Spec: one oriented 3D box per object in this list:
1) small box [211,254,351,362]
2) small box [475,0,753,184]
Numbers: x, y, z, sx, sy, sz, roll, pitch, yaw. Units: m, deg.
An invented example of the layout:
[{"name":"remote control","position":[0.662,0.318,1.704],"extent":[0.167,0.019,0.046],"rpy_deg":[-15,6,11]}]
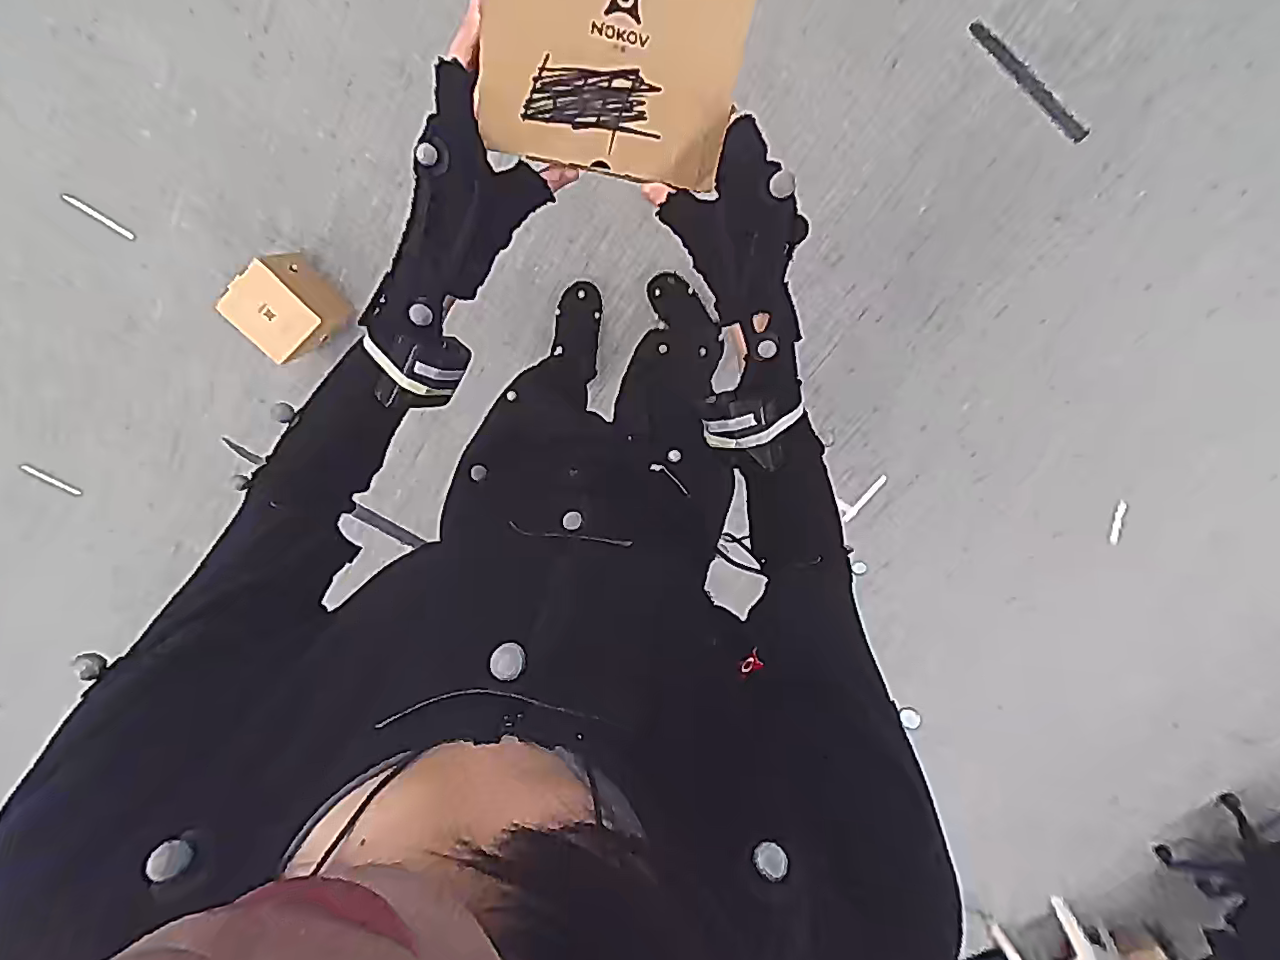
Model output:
[{"name":"small box","position":[-0.832,-0.409,1.270],"extent":[0.168,0.176,0.179],"rpy_deg":[-36,112,16]},{"name":"small box","position":[-0.024,-0.341,0.388],"extent":[0.168,0.176,0.179],"rpy_deg":[4,129,-15]}]
